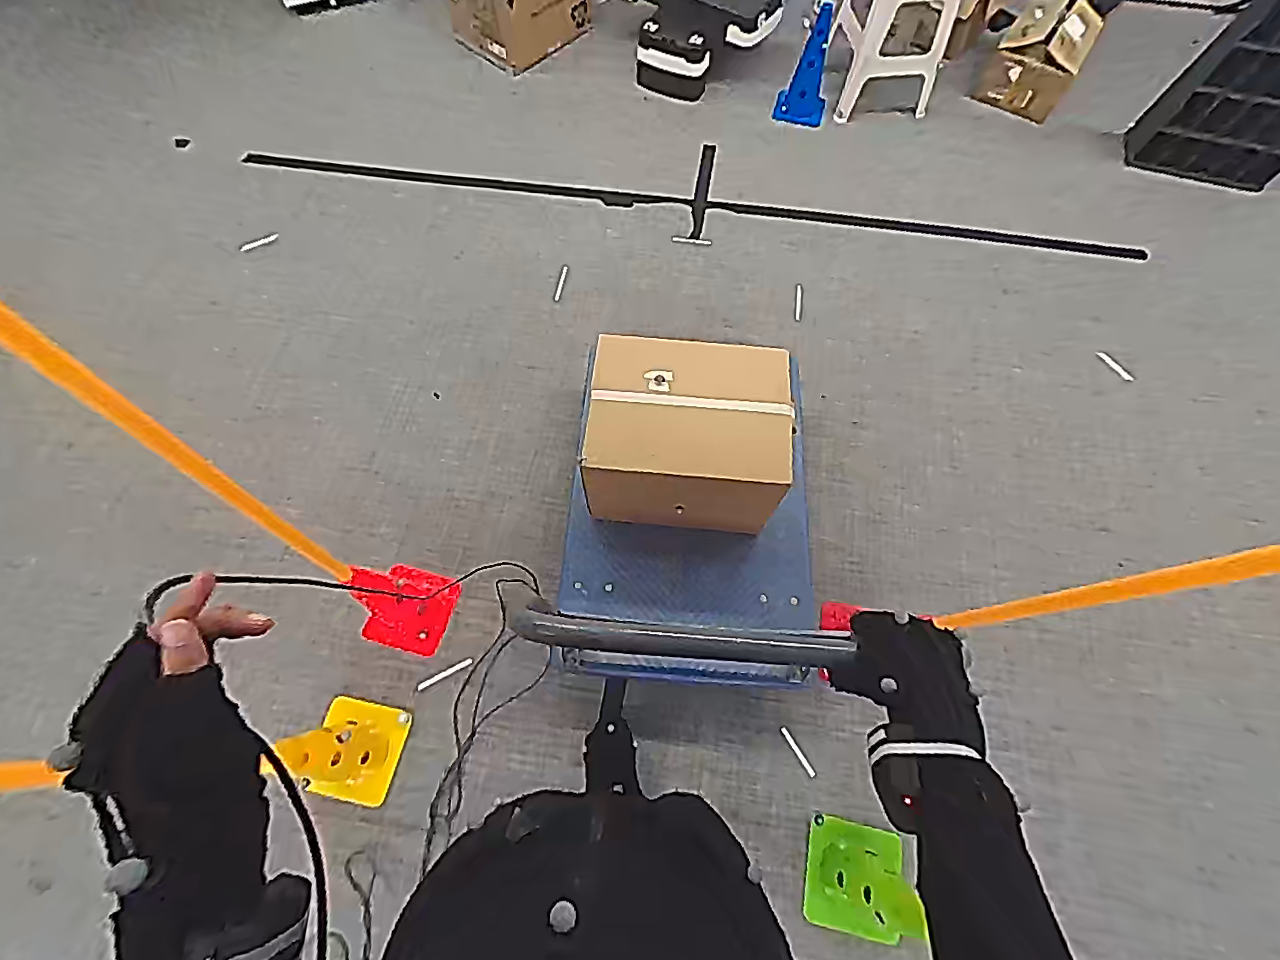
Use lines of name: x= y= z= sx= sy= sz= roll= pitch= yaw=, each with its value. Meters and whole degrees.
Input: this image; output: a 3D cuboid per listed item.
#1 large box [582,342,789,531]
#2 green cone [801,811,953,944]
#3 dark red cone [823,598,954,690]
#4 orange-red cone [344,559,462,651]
large box: x=0.100 y=-0.084 z=1.225 sx=0.408 sy=0.320 sz=0.320 roll=5 pitch=67 yaw=2
green cone: x=0.456 y=0.773 z=1.002 sx=0.202 sy=0.368 sz=0.200 roll=13 pitch=66 yaw=4
dark red cone: x=0.556 y=0.333 z=1.182 sx=0.201 sy=0.394 sz=0.202 roll=10 pitch=66 yaw=1
orange-red cone: x=-0.574 y=0.244 z=1.226 sx=0.198 sy=0.360 sz=0.199 roll=16 pitch=65 yaw=5
